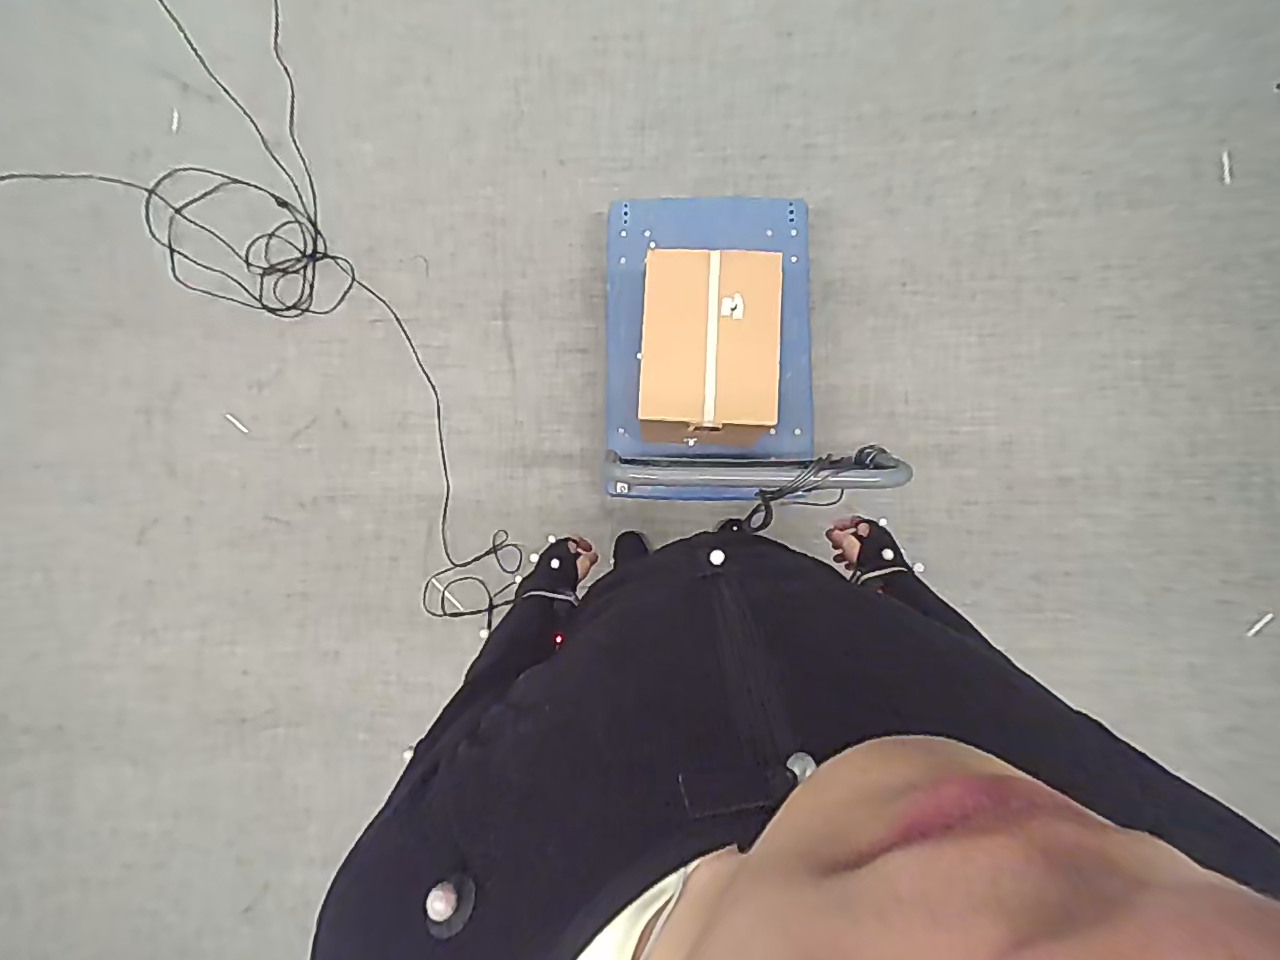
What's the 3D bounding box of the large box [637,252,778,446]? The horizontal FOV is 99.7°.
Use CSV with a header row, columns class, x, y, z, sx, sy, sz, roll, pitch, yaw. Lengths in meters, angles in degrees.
class,x,y,z,sx,sy,sz,roll,pitch,yaw
large box,0.162,-0.309,1.375,0.320,0.320,0.408,3,84,2
